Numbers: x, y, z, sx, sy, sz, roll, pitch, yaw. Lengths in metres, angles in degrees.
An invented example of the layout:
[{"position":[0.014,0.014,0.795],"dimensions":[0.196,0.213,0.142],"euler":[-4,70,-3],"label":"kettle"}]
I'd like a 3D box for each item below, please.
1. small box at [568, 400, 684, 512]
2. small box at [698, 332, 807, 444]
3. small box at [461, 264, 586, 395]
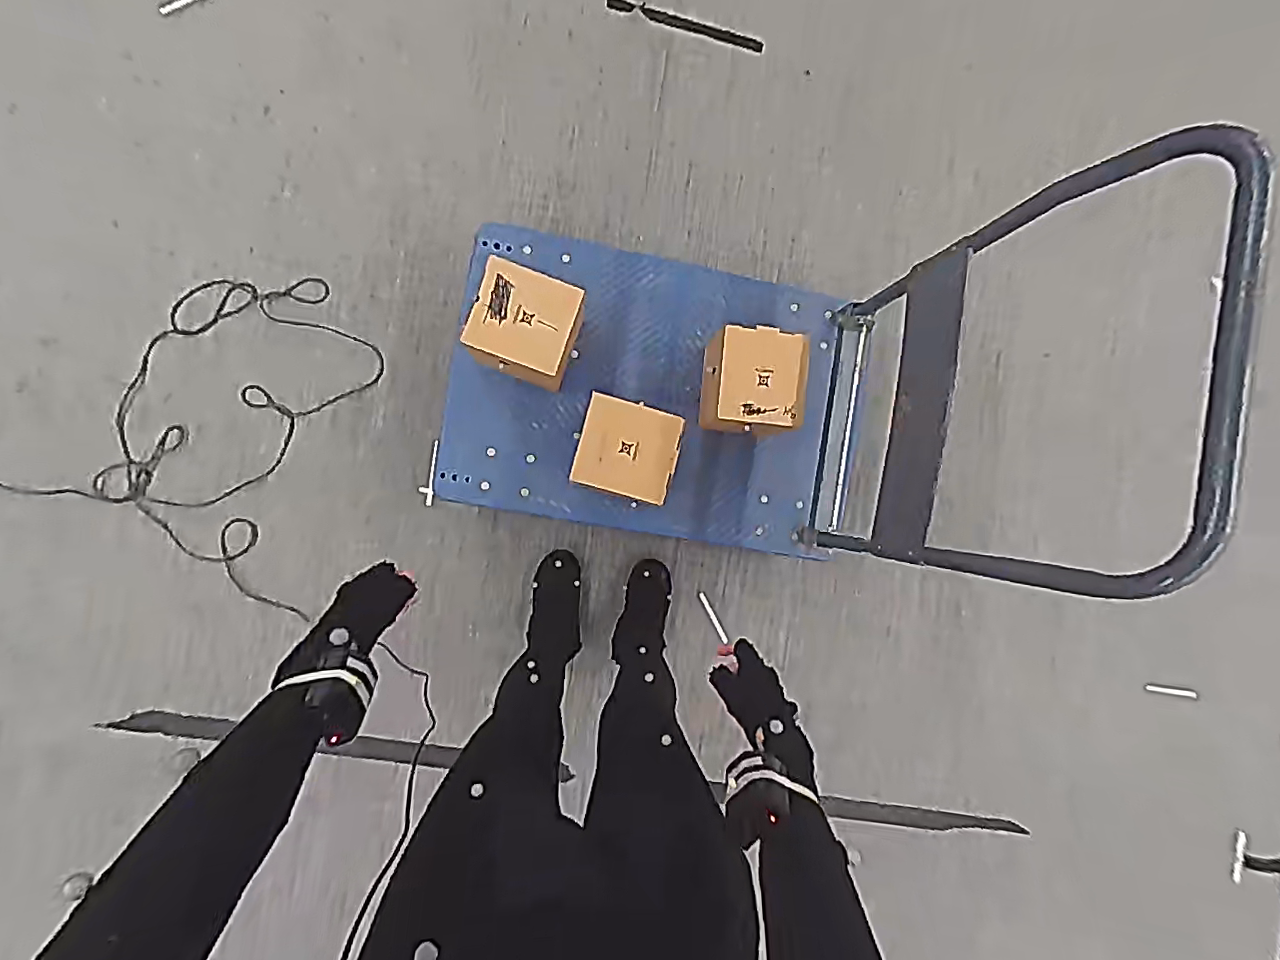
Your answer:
[{"position":[-0.032,-0.040,1.047],"dimensions":[0.179,0.176,0.168],"euler":[15,85,-4],"label":"small box"},{"position":[0.217,-0.176,1.078],"dimensions":[0.168,0.176,0.179],"euler":[6,87,-6],"label":"small box"},{"position":[-0.214,-0.275,1.031],"dimensions":[0.179,0.176,0.168],"euler":[20,87,-7],"label":"small box"}]
